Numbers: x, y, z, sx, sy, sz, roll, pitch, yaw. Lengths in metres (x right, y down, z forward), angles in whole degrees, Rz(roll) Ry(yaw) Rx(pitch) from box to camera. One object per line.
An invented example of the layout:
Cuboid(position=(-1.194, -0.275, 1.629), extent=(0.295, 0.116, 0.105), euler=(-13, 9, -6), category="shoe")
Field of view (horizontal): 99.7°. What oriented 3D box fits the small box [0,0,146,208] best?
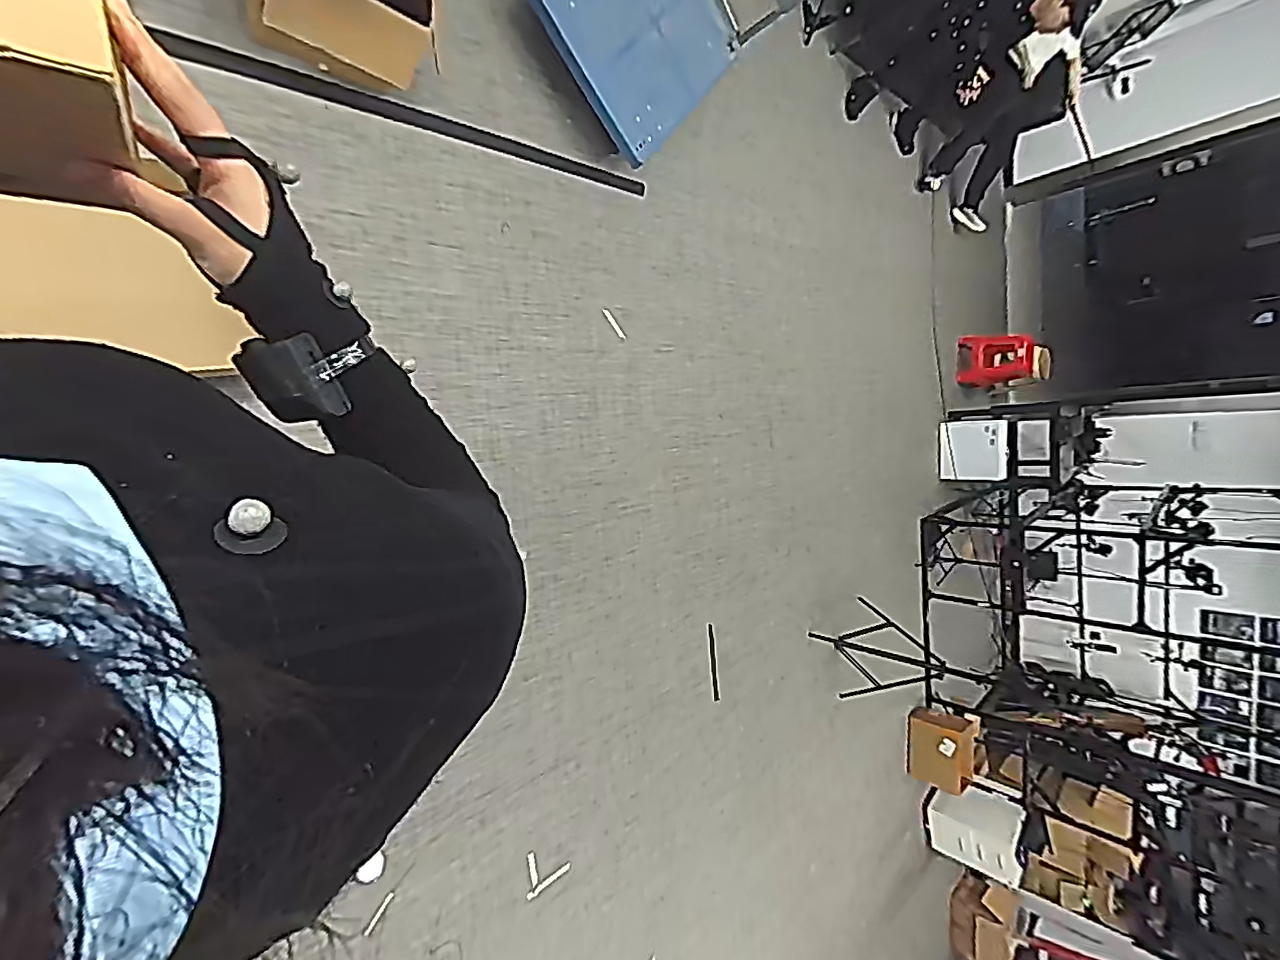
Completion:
Cuboid(position=(-0.344, -0.252, 0.239), extent=(0.168, 0.176, 0.179), euler=(-10, 99, -39), category="small box")
